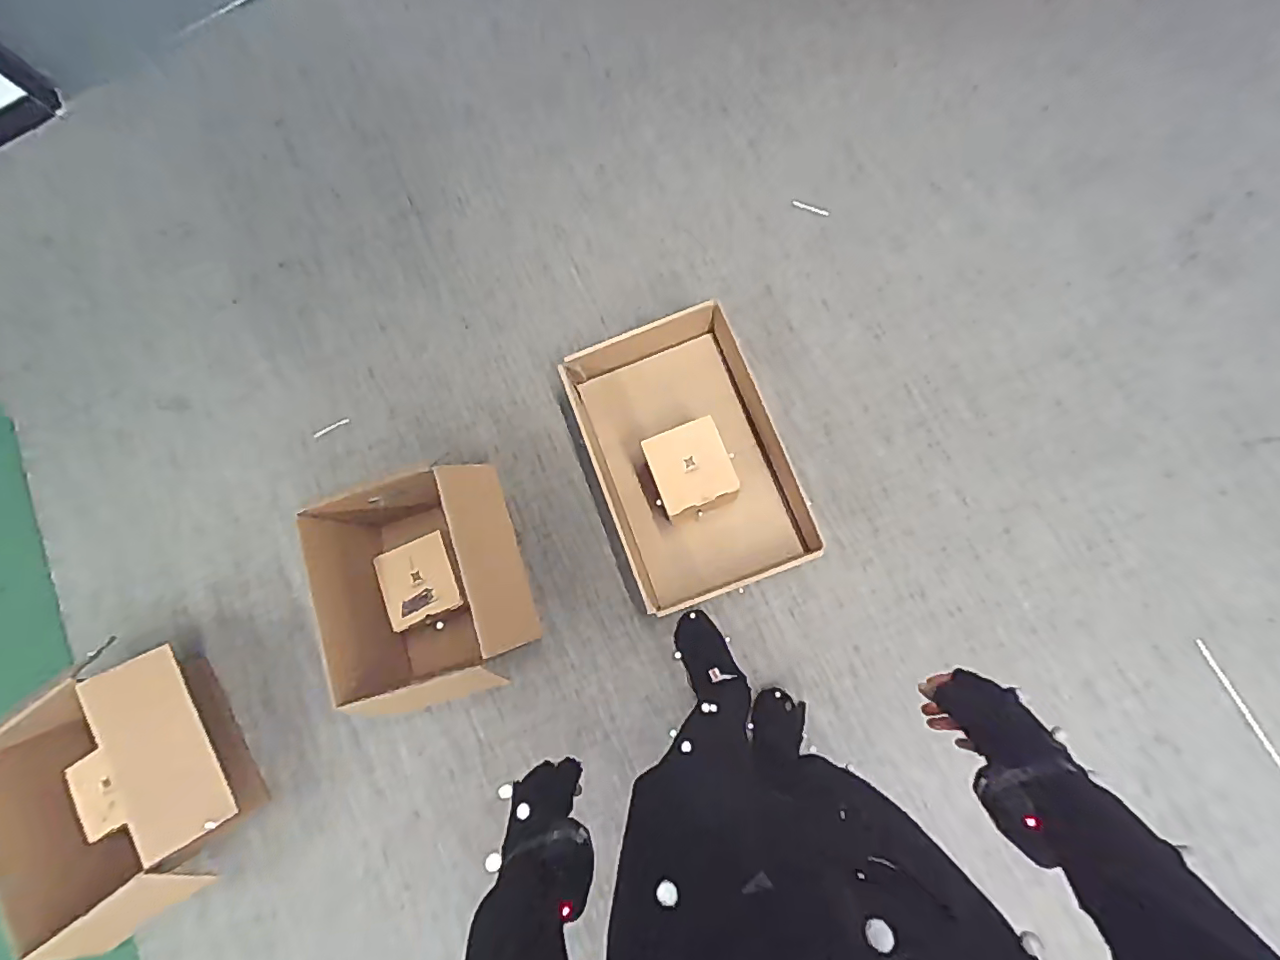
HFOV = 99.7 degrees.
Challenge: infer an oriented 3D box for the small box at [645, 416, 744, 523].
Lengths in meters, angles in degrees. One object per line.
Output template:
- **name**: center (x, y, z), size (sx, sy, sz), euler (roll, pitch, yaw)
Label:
- **small box**: center (0.120, -0.016, 1.220), size (0.168, 0.176, 0.179), euler (-22, 78, 2)
